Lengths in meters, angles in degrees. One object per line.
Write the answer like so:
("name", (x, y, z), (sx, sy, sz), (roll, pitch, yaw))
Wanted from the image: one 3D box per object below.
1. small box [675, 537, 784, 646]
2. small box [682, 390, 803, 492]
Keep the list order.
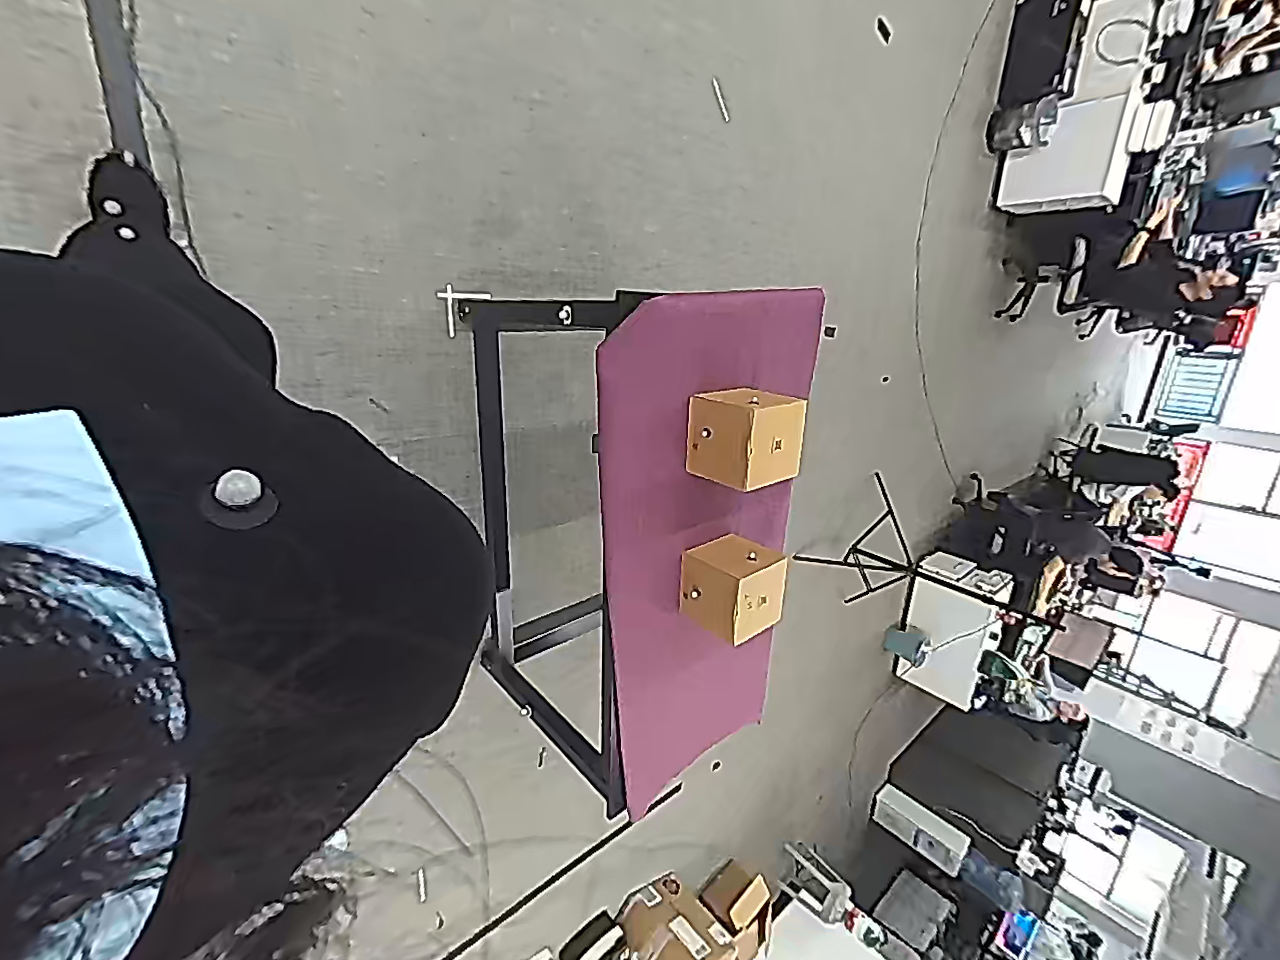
("small box", (0.204, 0.245, 1.247), (0.179, 0.176, 0.168), (-13, 113, -39))
("small box", (0.213, -0.090, 1.136), (0.179, 0.176, 0.168), (-14, 115, -38))
